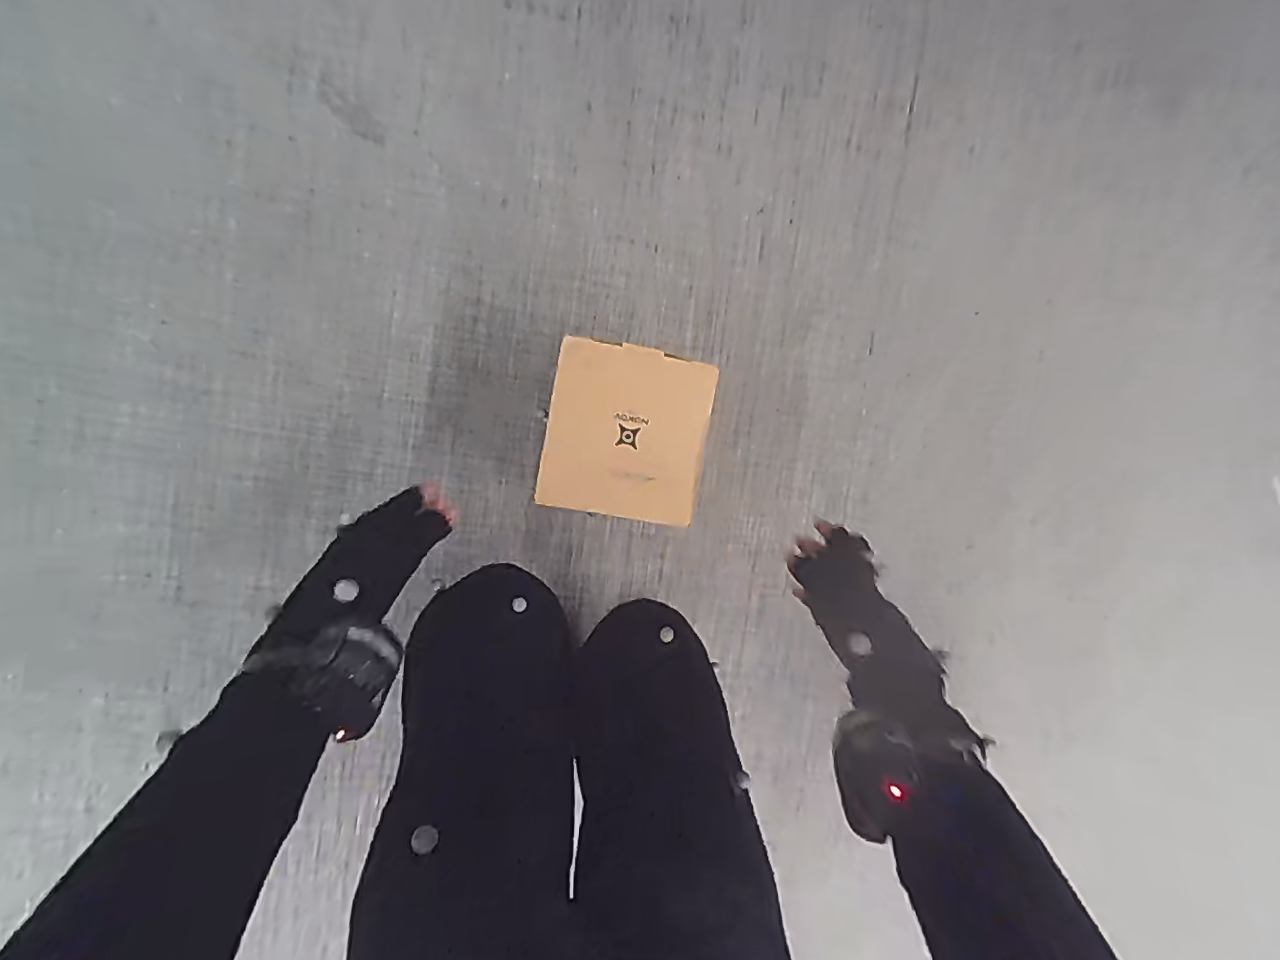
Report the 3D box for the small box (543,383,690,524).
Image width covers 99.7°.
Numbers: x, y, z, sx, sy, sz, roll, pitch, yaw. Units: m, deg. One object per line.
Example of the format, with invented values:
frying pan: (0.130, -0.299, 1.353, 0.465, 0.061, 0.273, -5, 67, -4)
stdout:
small box: (-0.043, -0.038, 0.802, 0.179, 0.176, 0.168, 10, 91, -10)
